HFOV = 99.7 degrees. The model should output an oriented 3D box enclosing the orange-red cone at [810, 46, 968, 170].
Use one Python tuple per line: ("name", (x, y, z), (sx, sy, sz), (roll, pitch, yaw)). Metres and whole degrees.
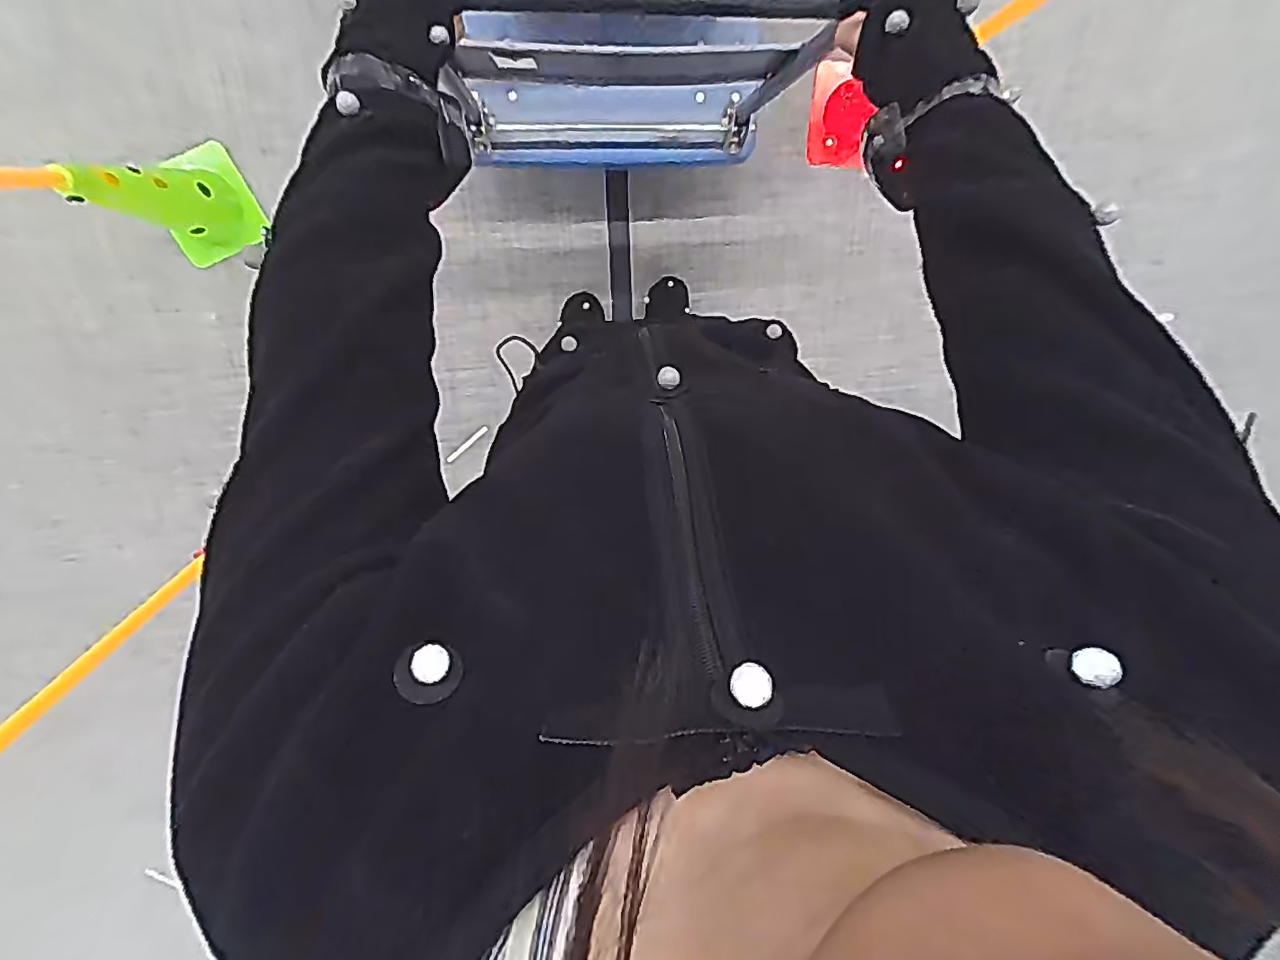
("orange-red cone", (0.505, -0.753, 1.049), (0.199, 0.360, 0.198), (2, 110, -7))
